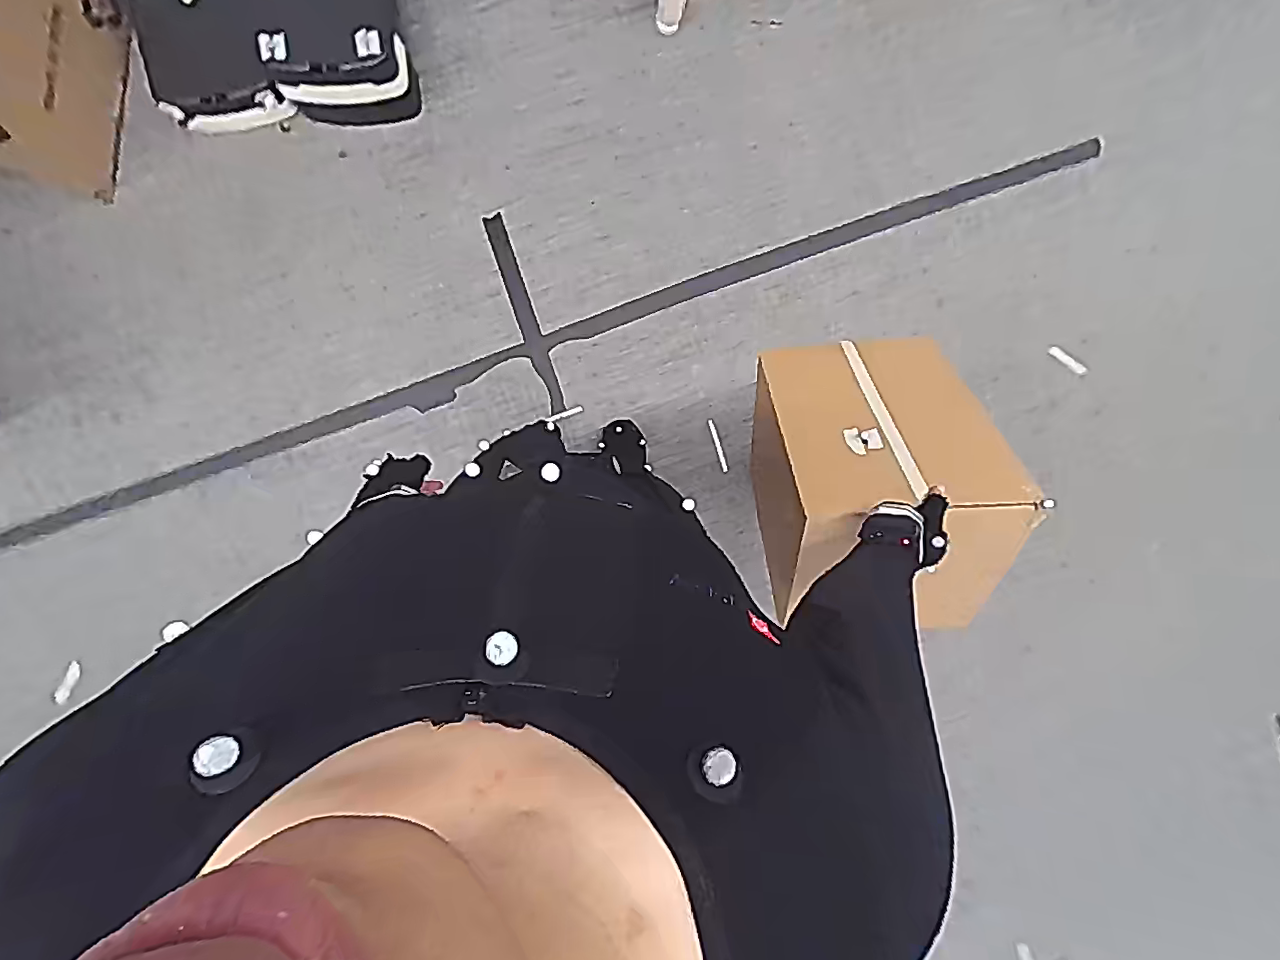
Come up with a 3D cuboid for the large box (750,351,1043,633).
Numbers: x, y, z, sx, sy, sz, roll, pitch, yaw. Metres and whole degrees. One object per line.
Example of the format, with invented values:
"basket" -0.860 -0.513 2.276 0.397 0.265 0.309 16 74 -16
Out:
"large box" 0.390 0.016 0.964 0.320 0.408 0.320 -3 137 3
